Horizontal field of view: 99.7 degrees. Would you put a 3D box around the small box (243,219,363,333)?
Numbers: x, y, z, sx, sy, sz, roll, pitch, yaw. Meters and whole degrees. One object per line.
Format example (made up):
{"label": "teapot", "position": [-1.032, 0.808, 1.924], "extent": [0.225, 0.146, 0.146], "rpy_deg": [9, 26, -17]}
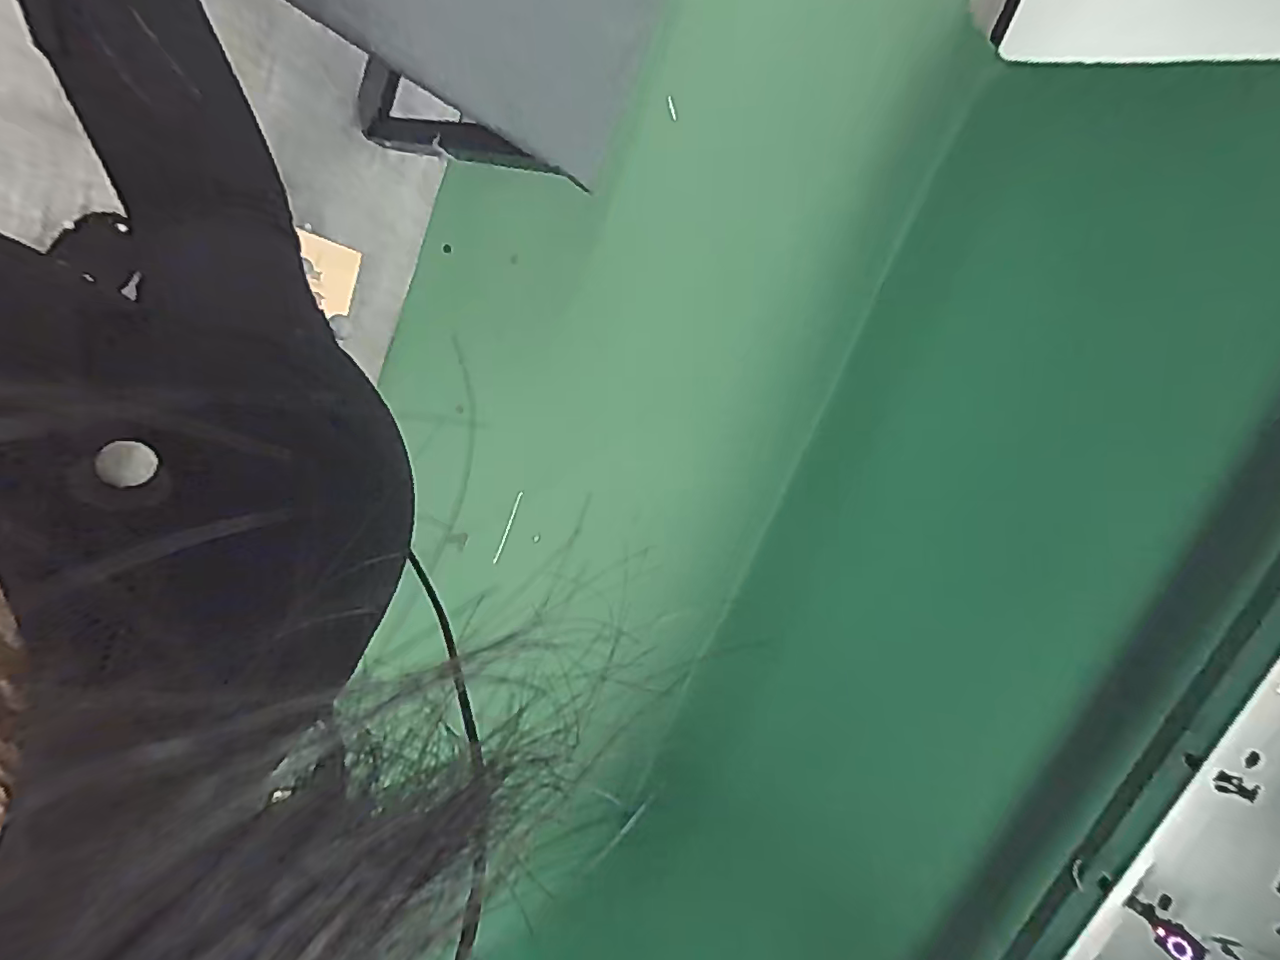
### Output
{"label": "small box", "position": [-0.750, -0.450, 1.196], "extent": [0.168, 0.176, 0.179], "rpy_deg": [6, 109, -53]}
